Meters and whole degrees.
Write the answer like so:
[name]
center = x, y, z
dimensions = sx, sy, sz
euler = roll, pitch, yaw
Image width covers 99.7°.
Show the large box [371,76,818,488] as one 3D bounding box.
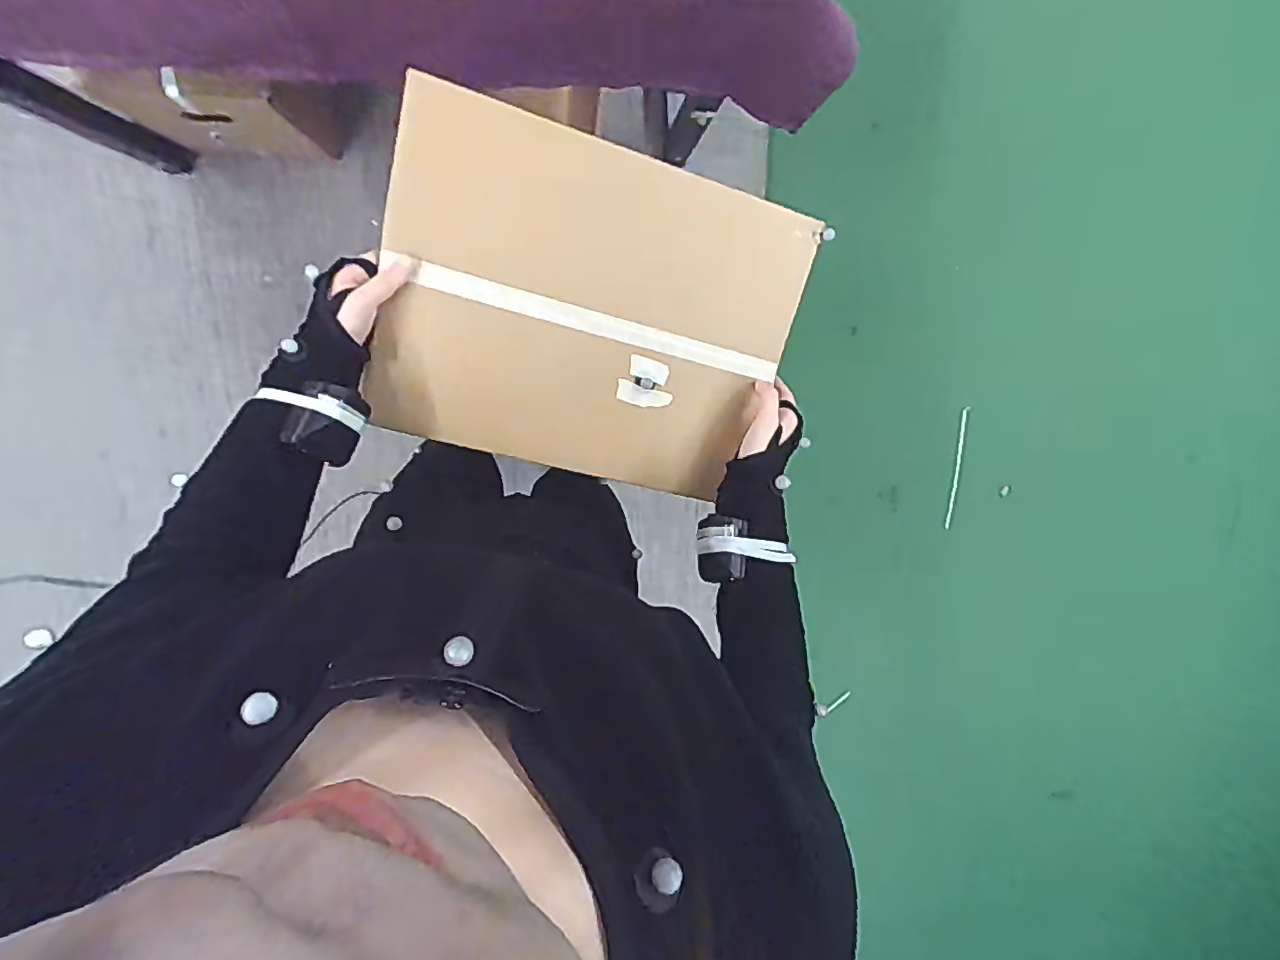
[large box]
center = -0.070, -0.212, 0.682
dimensions = 0.408, 0.320, 0.320
euler = 12, 106, -14
